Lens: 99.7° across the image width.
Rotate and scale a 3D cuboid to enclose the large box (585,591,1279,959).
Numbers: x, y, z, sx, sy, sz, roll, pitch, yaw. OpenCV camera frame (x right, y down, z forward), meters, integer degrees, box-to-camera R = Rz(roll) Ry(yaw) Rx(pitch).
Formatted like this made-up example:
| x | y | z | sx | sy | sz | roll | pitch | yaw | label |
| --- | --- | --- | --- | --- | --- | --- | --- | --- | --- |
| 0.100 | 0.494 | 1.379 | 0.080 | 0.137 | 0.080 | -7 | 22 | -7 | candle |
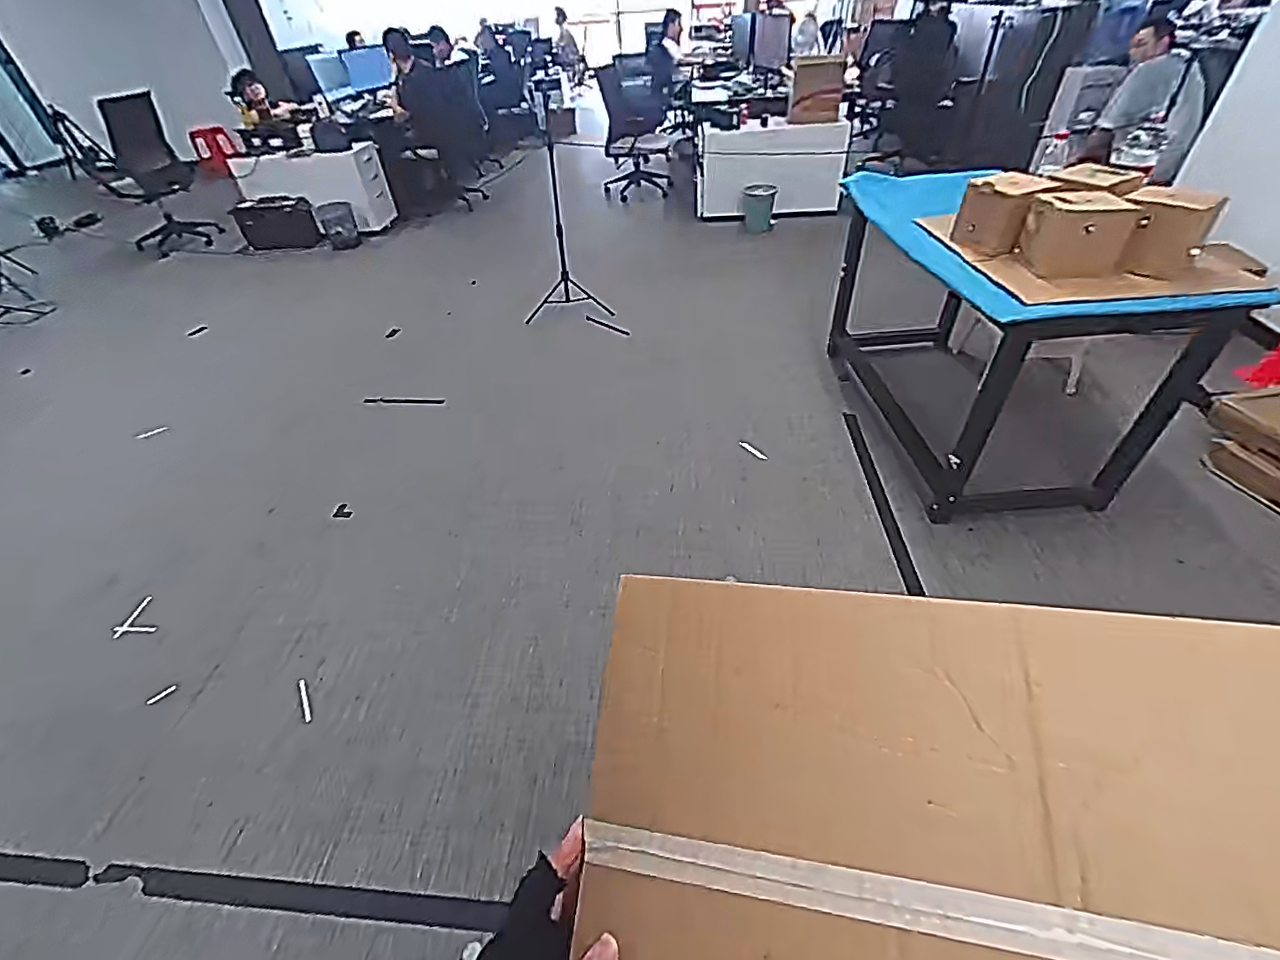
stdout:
| x | y | z | sx | sy | sz | roll | pitch | yaw | label |
| --- | --- | --- | --- | --- | --- | --- | --- | --- | --- |
| 0.198 | 0.282 | 0.407 | 0.408 | 0.320 | 0.320 | 2 | 67 | 15 | large box |
